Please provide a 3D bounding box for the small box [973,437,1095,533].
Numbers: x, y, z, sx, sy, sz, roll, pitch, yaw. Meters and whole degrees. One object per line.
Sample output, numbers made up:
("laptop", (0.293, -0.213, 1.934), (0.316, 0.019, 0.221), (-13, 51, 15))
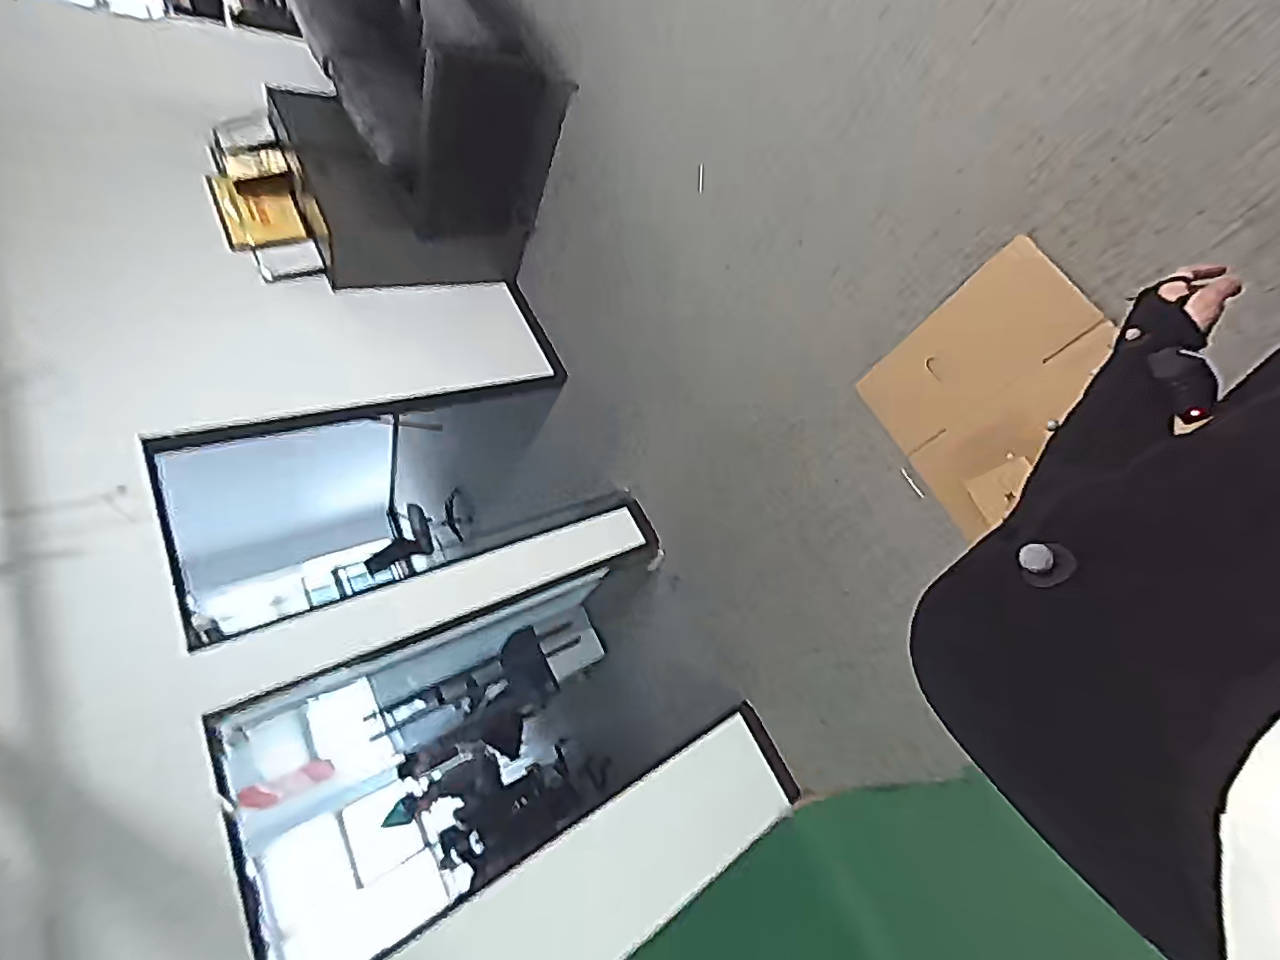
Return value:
("small box", (1.022, 0.011, 1.401), (0.179, 0.176, 0.168), (64, 146, 14))
